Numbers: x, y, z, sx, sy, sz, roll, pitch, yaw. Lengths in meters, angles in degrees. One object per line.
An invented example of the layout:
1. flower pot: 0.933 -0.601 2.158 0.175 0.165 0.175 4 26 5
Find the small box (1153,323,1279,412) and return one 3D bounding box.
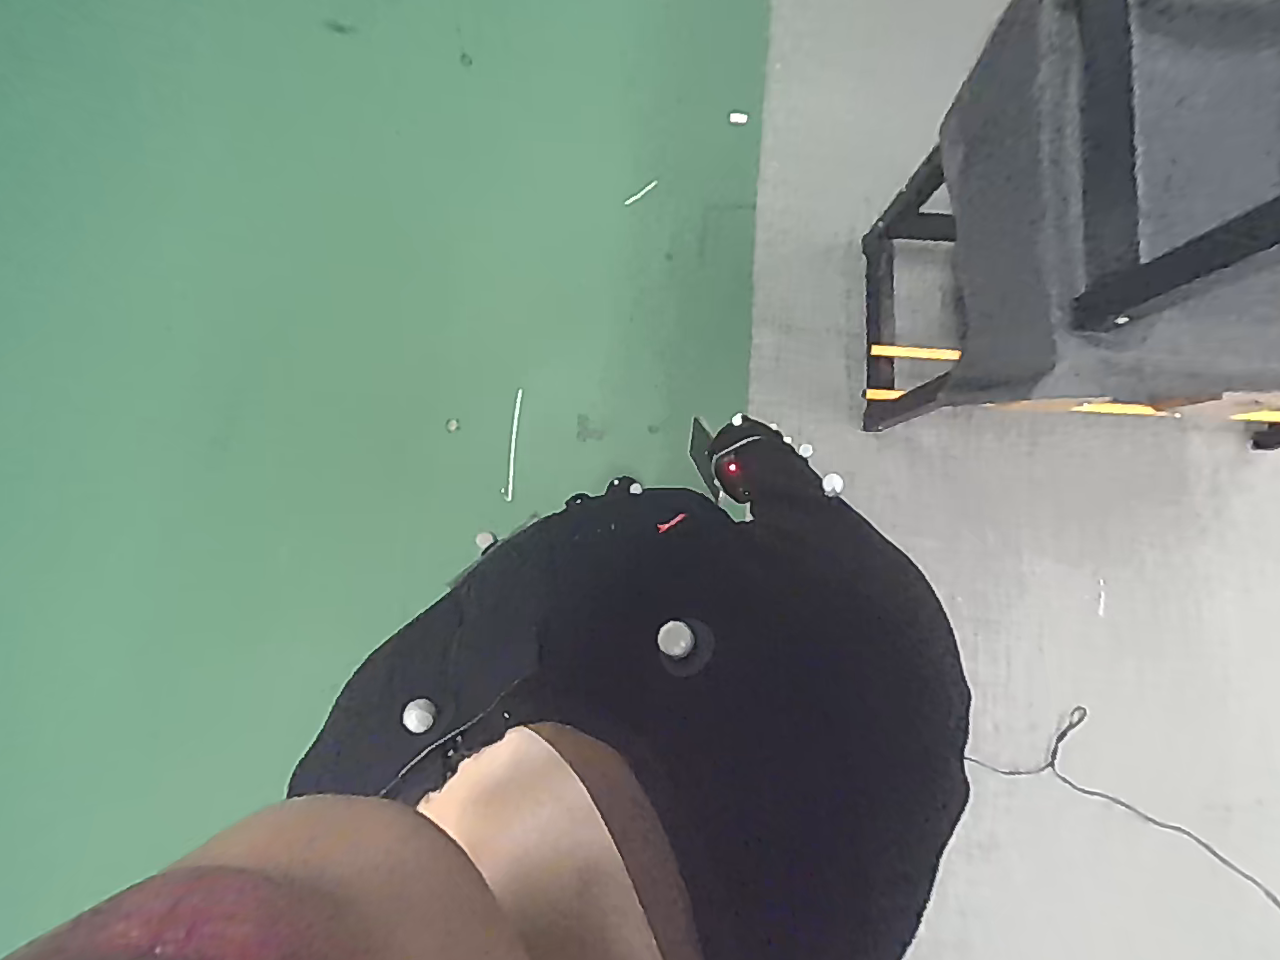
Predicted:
1. small box: 1.443 -0.274 1.355 0.168 0.176 0.179 6 86 0
